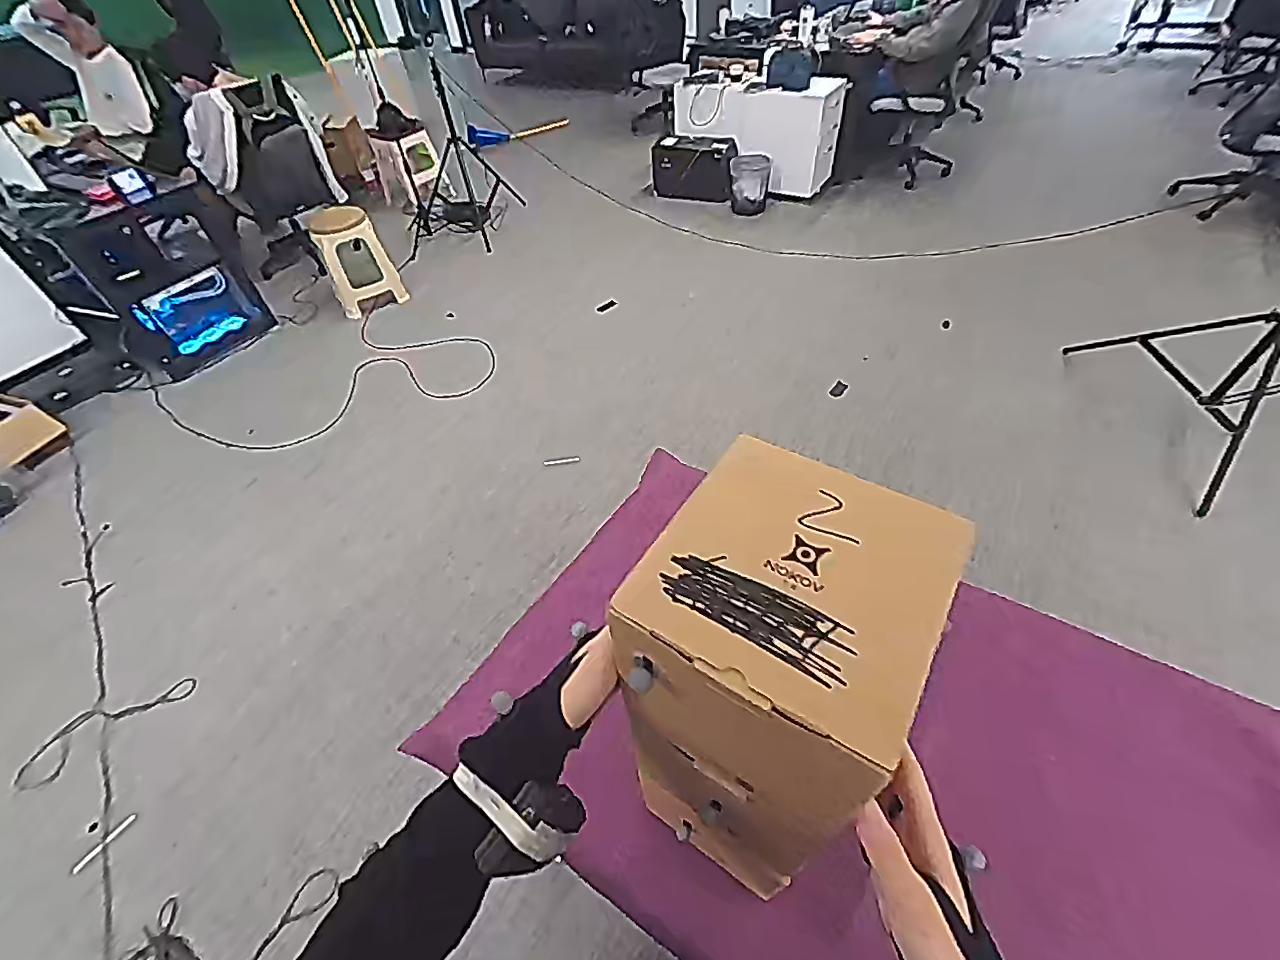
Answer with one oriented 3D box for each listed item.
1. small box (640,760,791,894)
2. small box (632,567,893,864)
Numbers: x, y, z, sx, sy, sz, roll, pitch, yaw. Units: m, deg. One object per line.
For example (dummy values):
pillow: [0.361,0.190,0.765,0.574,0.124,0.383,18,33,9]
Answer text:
small box: [0.119,0.337,0.629,0.168,0.176,0.179,25,54,25]
small box: [0.112,0.223,0.512,0.168,0.176,0.179,23,54,23]
